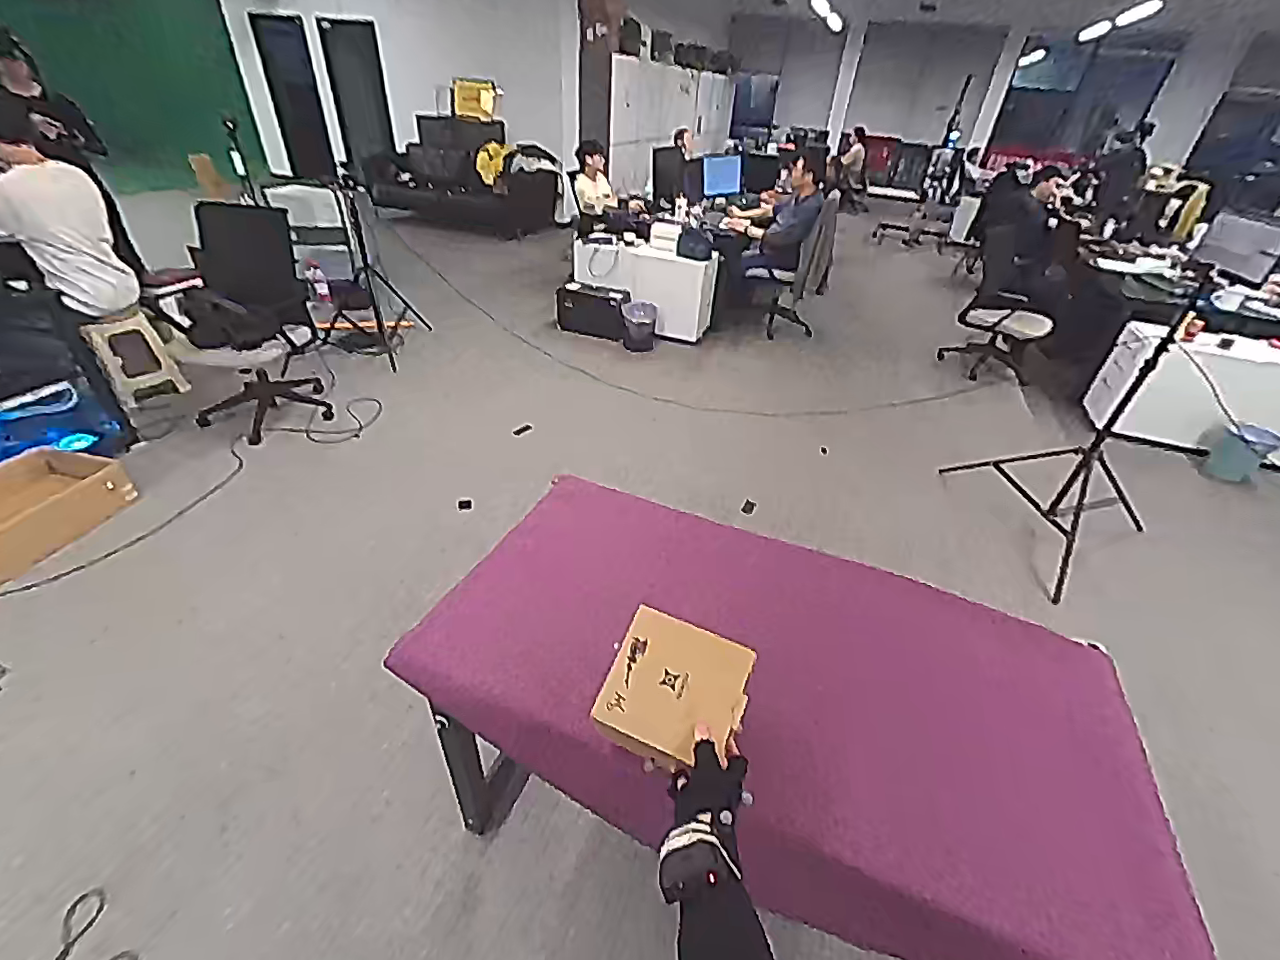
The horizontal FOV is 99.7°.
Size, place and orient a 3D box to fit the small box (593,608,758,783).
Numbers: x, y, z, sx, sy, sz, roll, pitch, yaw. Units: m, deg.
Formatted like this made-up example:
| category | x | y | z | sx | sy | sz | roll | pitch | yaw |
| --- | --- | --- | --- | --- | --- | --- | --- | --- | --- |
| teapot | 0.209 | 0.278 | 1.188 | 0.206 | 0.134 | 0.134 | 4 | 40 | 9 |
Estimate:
| category | x | y | z | sx | sy | sz | roll | pitch | yaw |
| --- | --- | --- | --- | --- | --- | --- | --- | --- | --- |
| small box | 0.052 | 0.316 | 0.783 | 0.179 | 0.176 | 0.168 | 20 | 58 | 15 |
